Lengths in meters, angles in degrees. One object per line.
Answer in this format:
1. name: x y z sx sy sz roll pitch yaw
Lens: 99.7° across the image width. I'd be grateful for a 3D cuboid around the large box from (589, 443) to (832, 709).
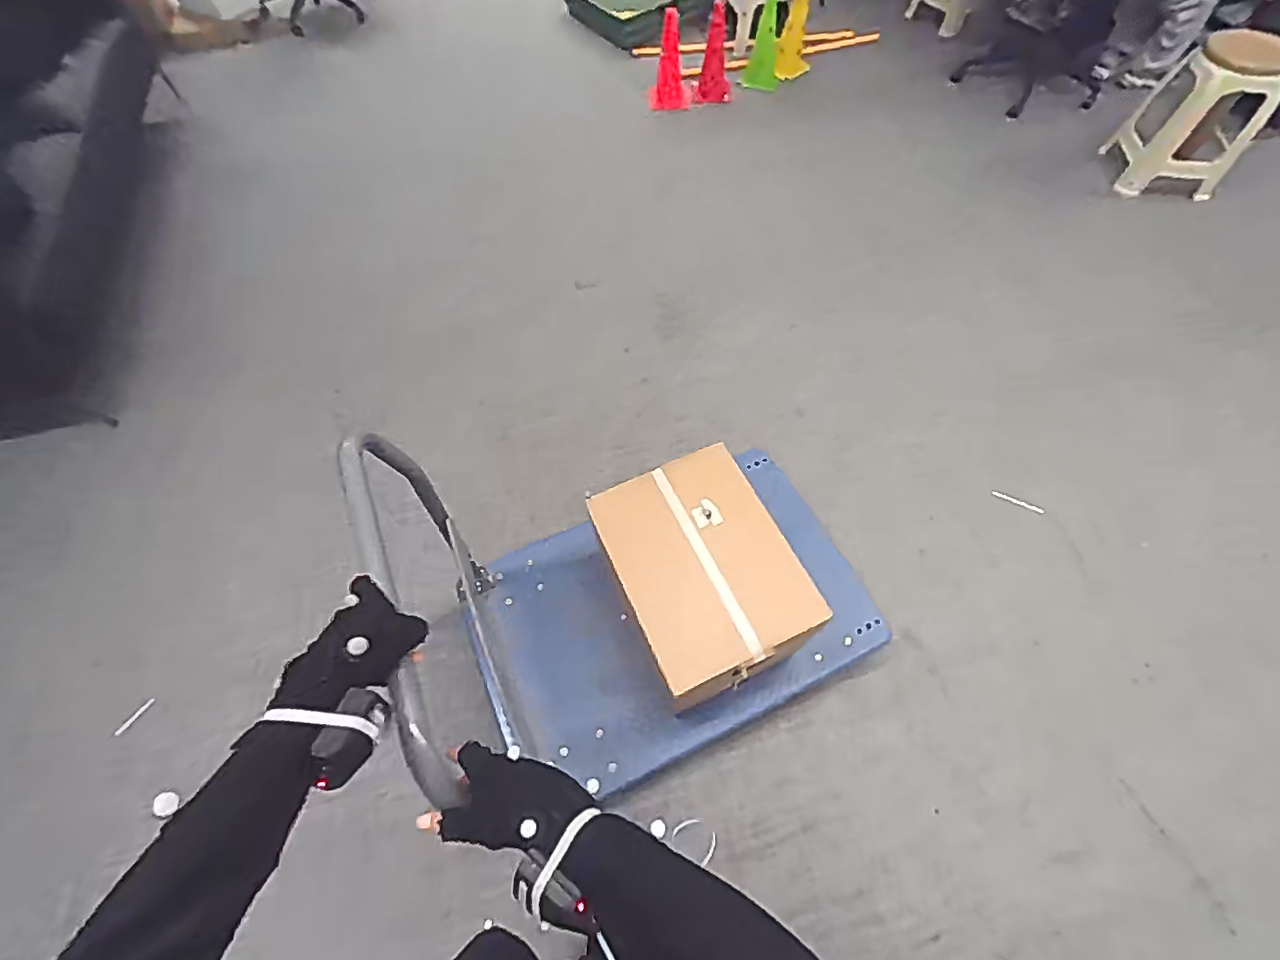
1. large box: 0.128 0.207 1.142 0.320 0.320 0.408 -23 61 -11
